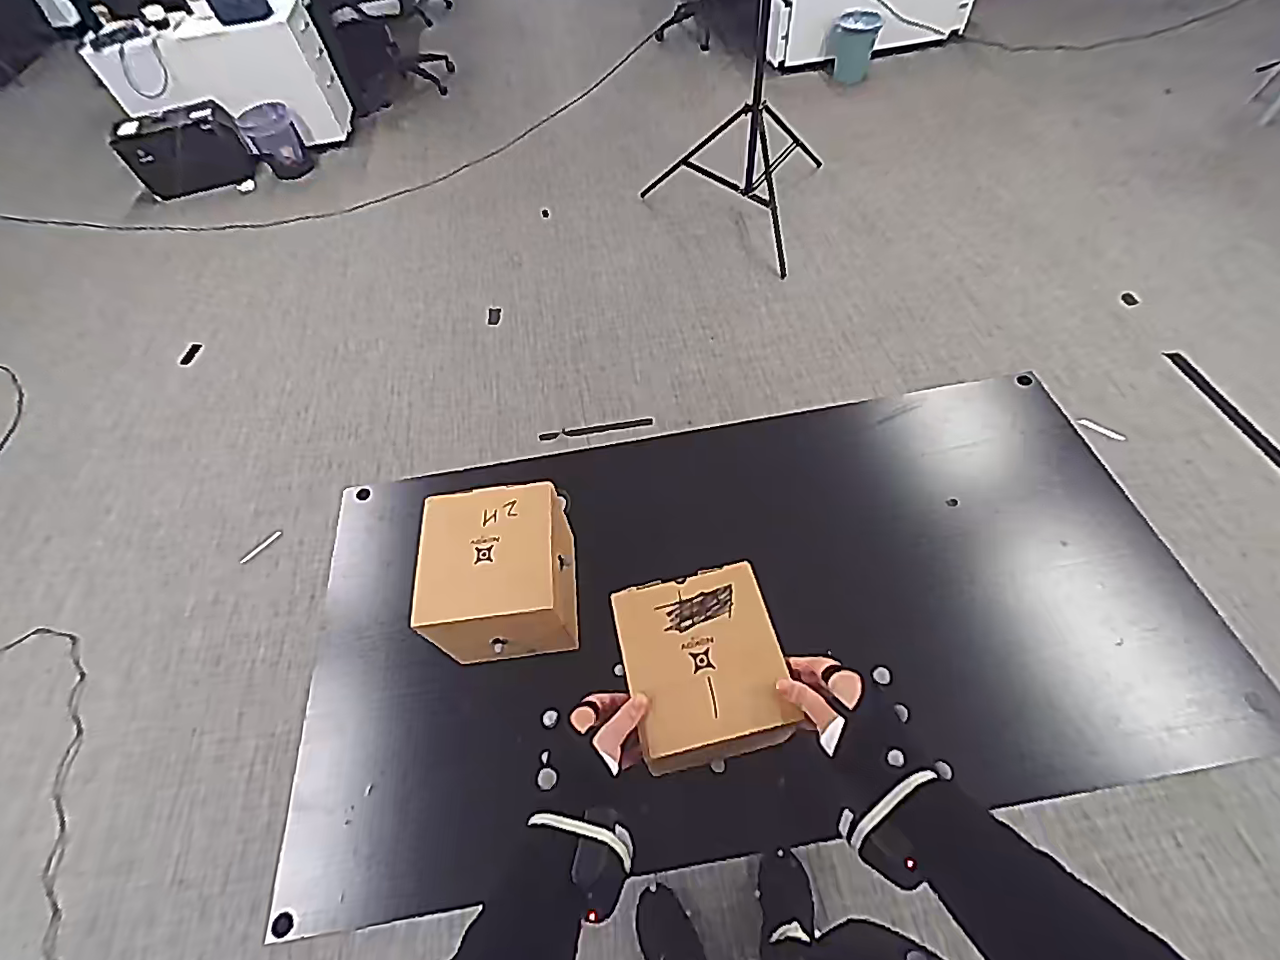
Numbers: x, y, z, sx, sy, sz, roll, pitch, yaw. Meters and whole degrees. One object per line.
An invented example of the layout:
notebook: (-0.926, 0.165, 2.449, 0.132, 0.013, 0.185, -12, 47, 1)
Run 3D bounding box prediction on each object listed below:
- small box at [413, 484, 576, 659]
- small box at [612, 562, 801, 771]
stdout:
small box: (-0.182, 0.131, 0.728, 0.168, 0.176, 0.179, -8, 56, 0)
small box: (0.069, 0.224, 0.640, 0.168, 0.176, 0.179, -14, 57, -3)
